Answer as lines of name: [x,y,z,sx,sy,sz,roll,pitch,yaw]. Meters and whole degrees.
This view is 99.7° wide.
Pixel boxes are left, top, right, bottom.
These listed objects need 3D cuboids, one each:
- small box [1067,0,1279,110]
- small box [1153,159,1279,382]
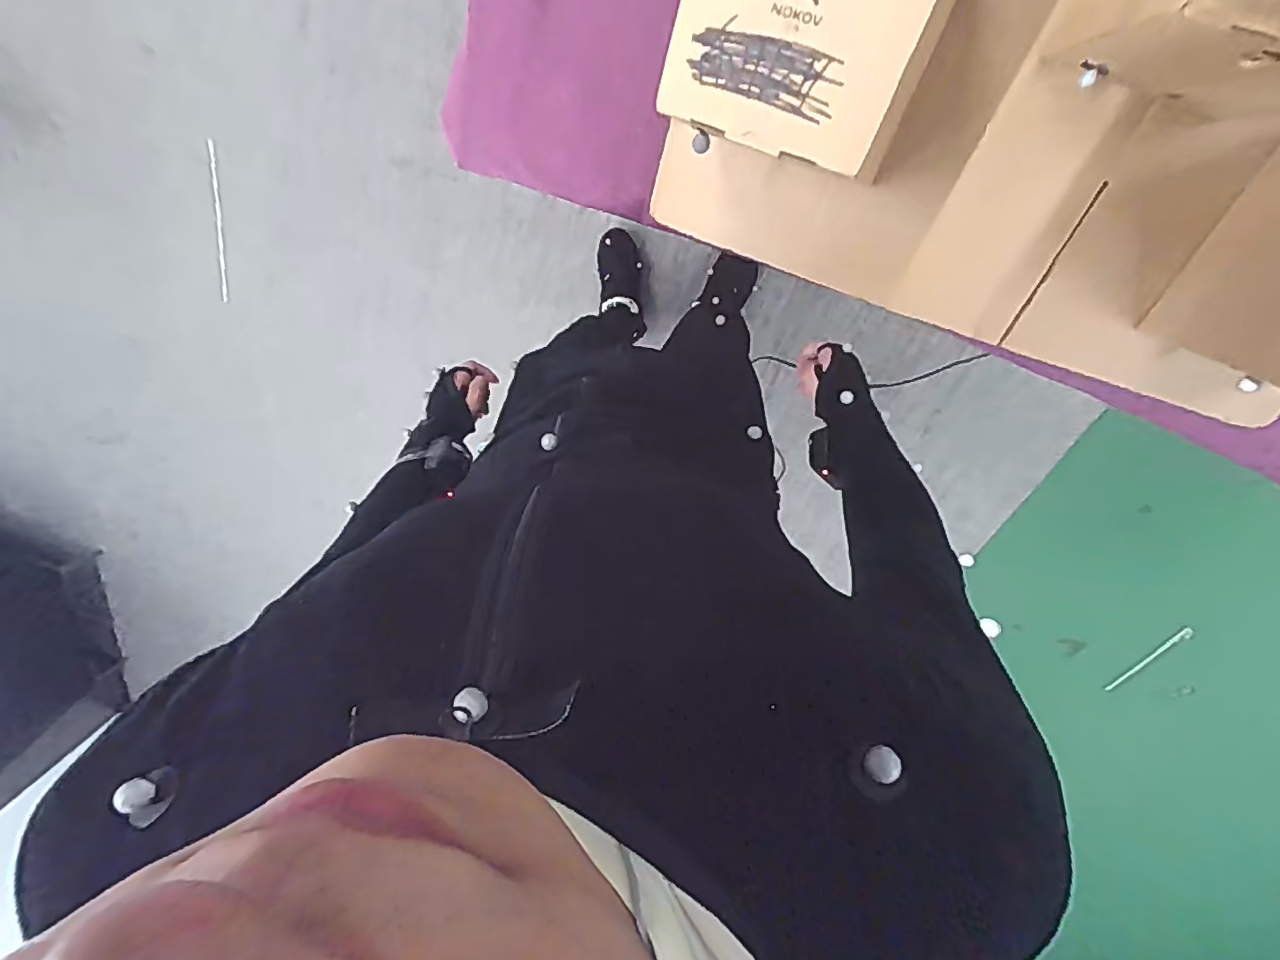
small box: [0.409,-0.346,0.320,0.168,0.176,0.179,17,120,-2]
small box: [0.568,-0.152,0.408,0.168,0.176,0.179,18,122,-1]
